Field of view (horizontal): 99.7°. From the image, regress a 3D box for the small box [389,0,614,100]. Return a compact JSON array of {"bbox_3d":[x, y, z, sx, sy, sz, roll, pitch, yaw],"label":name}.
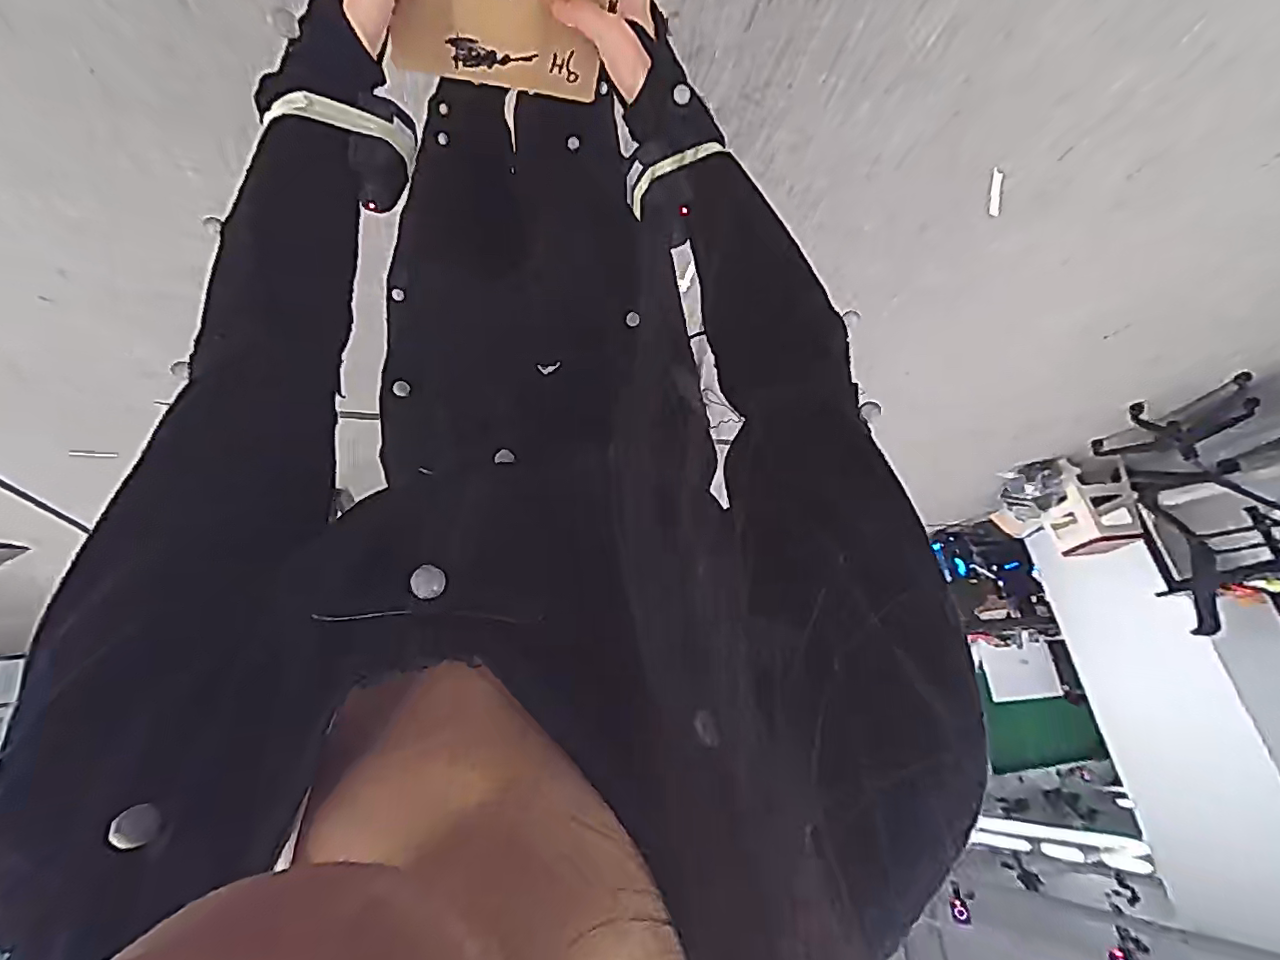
[{"bbox_3d":[-0.104,-0.443,0.411,0.168,0.176,0.179,1,157,-14],"label":"small box"}]
